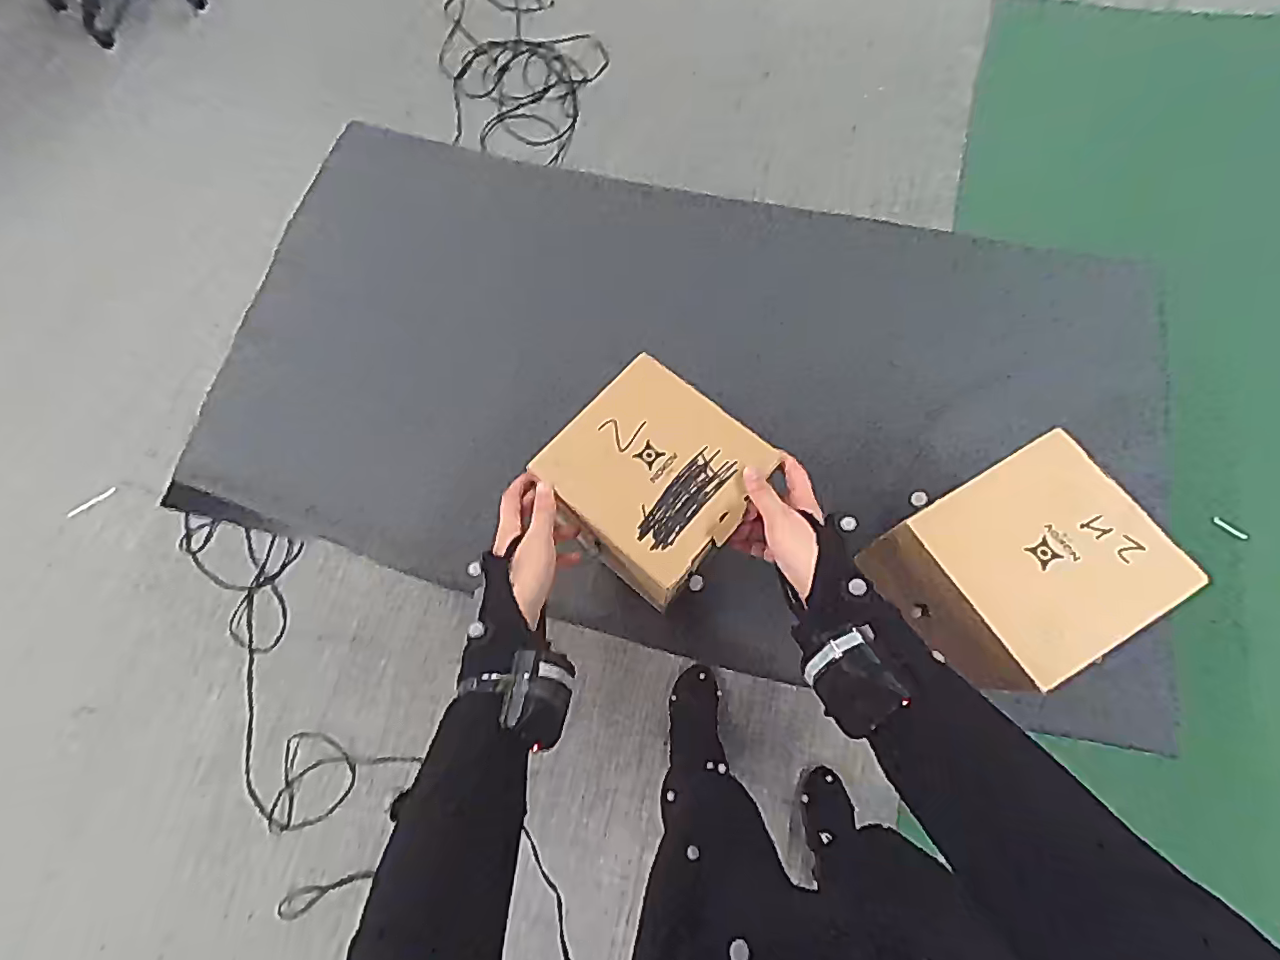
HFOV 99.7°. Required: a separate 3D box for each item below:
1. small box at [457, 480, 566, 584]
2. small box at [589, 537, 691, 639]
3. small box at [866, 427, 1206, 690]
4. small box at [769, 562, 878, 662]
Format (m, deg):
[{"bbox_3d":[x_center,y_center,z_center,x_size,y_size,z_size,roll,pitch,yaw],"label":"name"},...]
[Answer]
[{"bbox_3d":[-0.305,0.134,1.323,0.179,0.176,0.168,-42,75,-10],"label":"small box"},{"bbox_3d":[0.007,0.256,1.263,0.179,0.176,0.168,26,75,13],"label":"small box"},{"bbox_3d":[0.346,0.085,0.524,0.179,0.176,0.168,-29,71,-6],"label":"small box"},{"bbox_3d":[0.405,0.301,1.221,0.179,0.176,0.168,18,75,8],"label":"small box"}]
